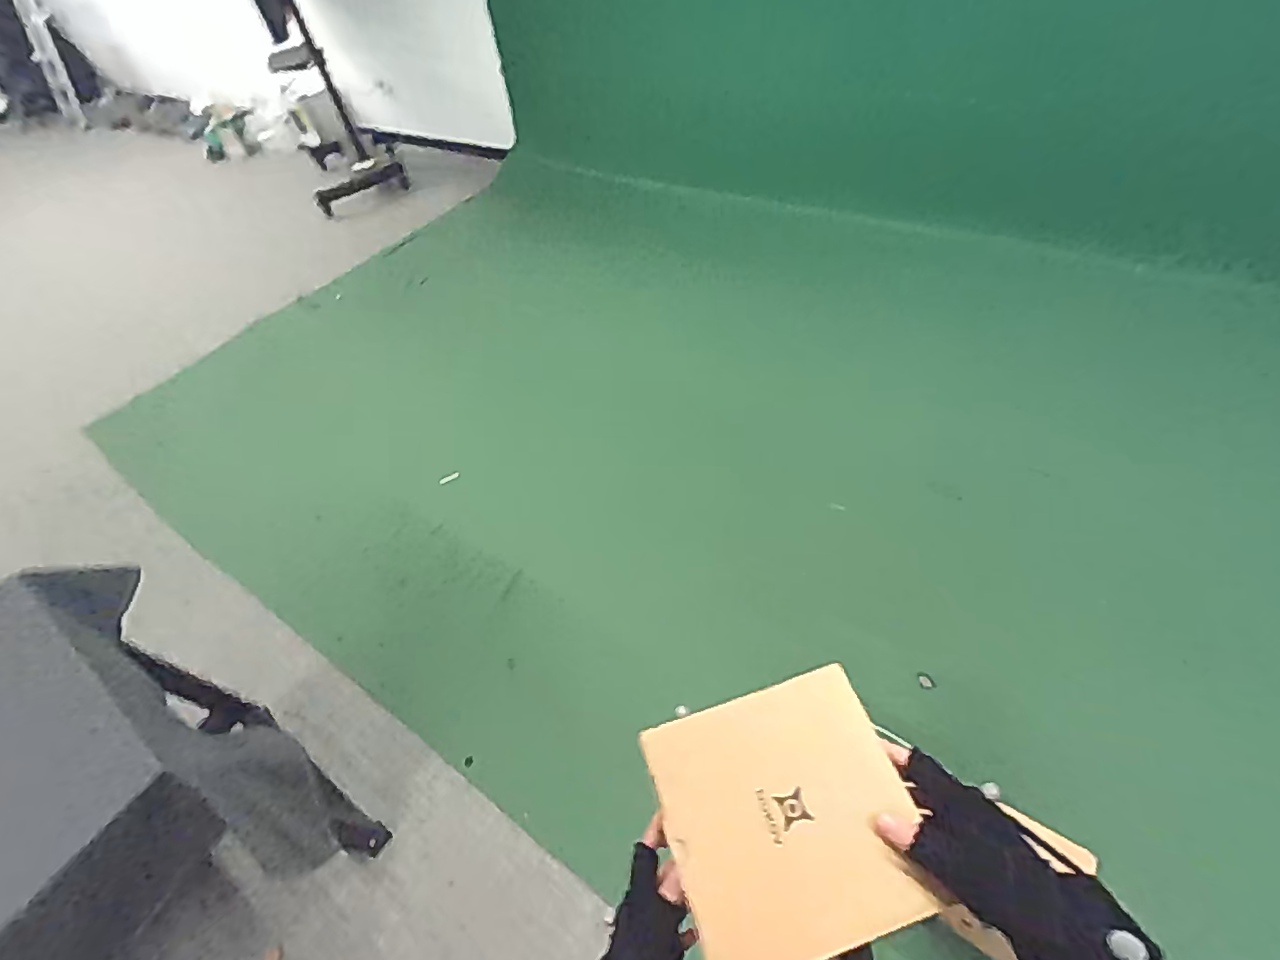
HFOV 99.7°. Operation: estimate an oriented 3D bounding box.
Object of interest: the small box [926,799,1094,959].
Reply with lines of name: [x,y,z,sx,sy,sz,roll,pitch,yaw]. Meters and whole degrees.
small box: [0.639,0.702,0.950,0.179,0.176,0.168,26,58,24]
